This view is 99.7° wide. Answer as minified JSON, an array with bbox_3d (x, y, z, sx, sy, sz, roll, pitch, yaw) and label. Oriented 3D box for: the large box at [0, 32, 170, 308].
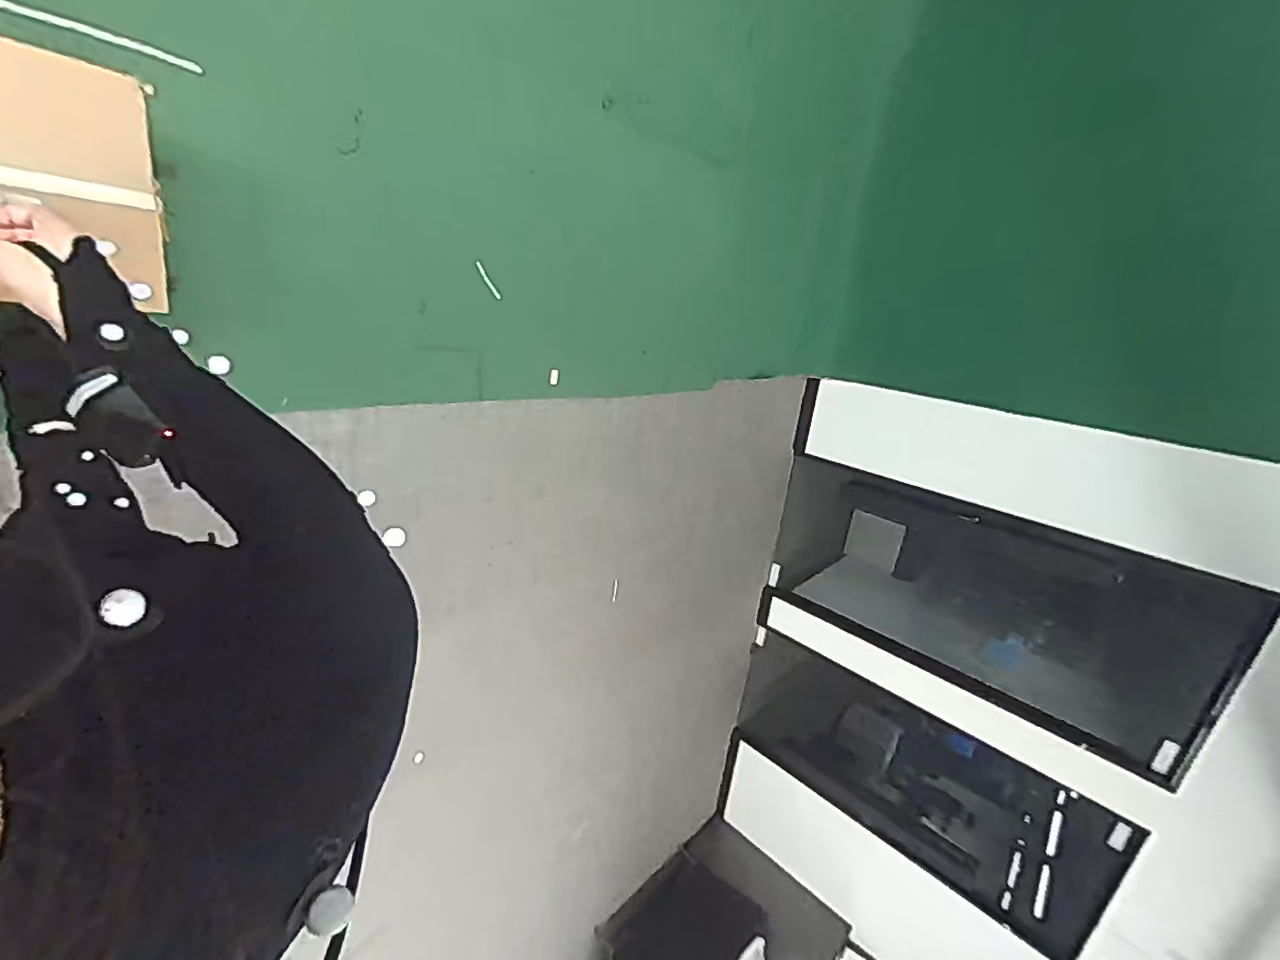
[{"bbox_3d":[-0.941,-0.420,0.726,0.408,0.320,0.320,-11,116,-47],"label":"large box"}]
